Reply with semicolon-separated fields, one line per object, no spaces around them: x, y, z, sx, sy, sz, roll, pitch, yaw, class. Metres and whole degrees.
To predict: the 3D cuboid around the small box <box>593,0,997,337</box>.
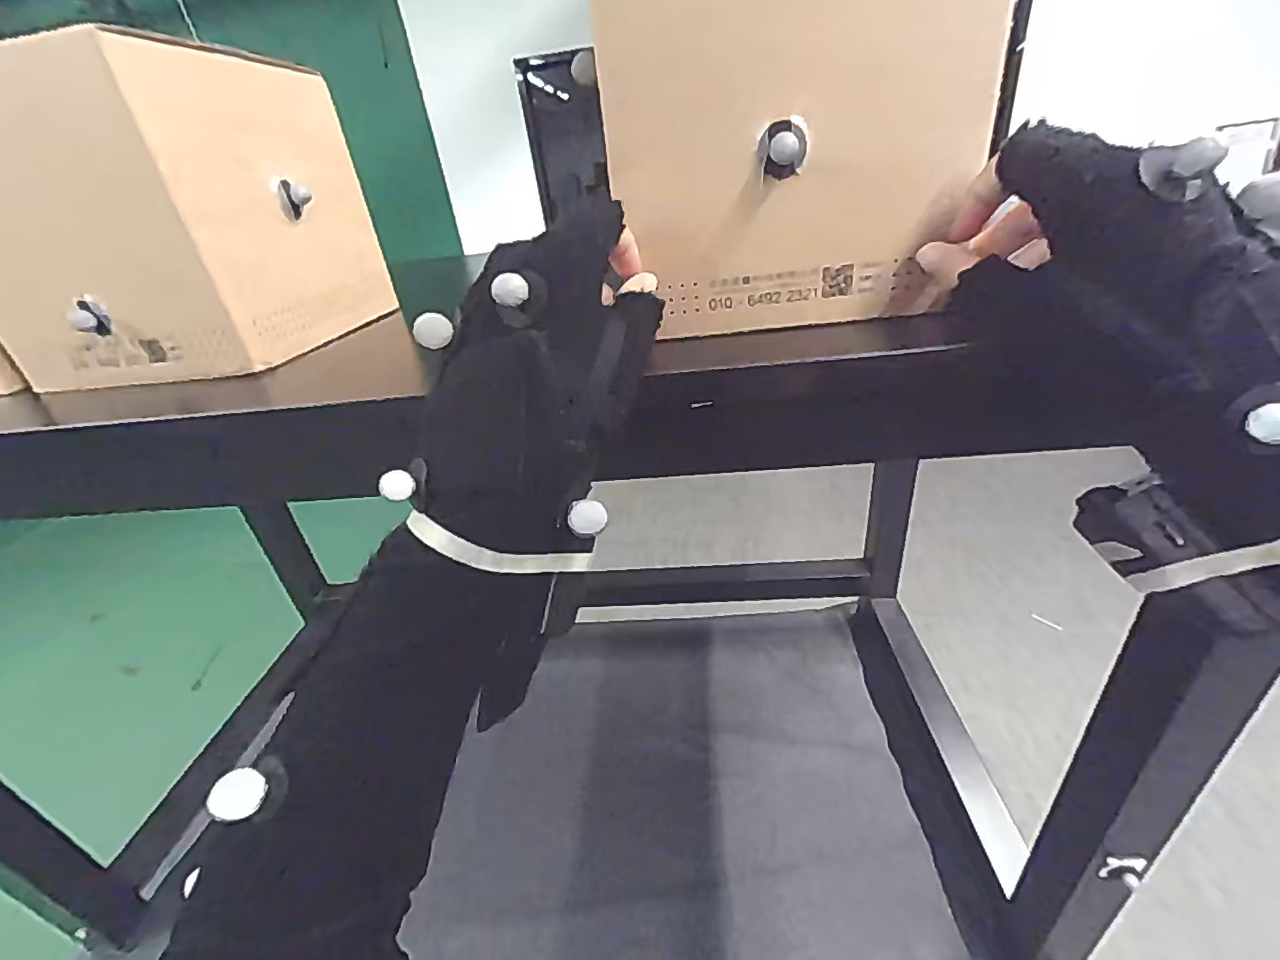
0.077;-0.185;0.312;0.168;0.176;0.179;-3;30;7;small box
